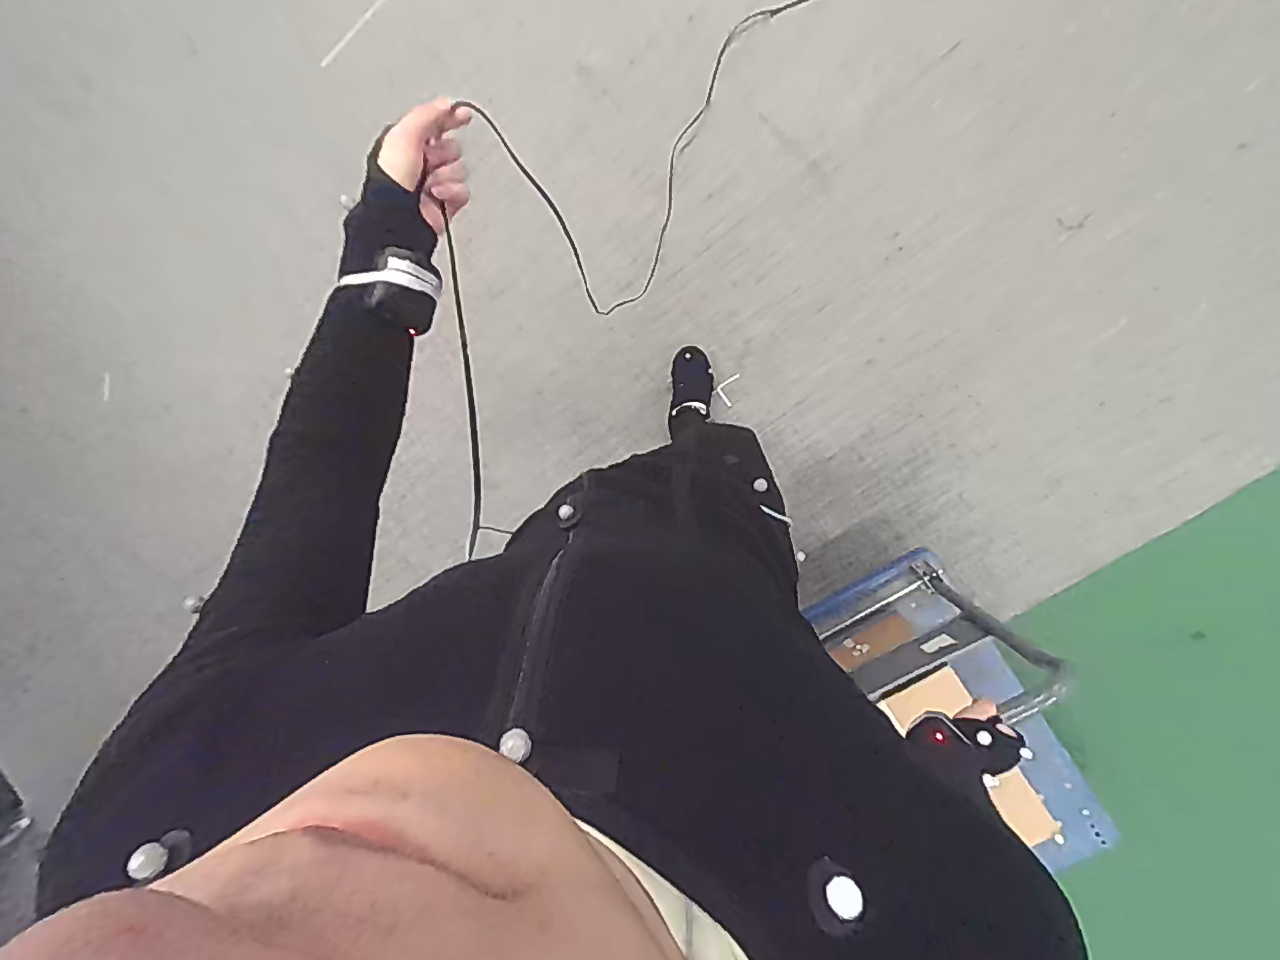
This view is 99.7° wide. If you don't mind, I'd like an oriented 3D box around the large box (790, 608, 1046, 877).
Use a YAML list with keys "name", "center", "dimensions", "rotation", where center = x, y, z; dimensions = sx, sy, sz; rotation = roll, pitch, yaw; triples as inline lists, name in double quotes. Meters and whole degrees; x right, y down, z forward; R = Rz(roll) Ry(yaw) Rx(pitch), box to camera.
- name: "large box"
  center: [0.606, 0.581, 1.261]
  dimensions: [0.320, 0.320, 0.408]
  rotation: [-34, 91, 11]
